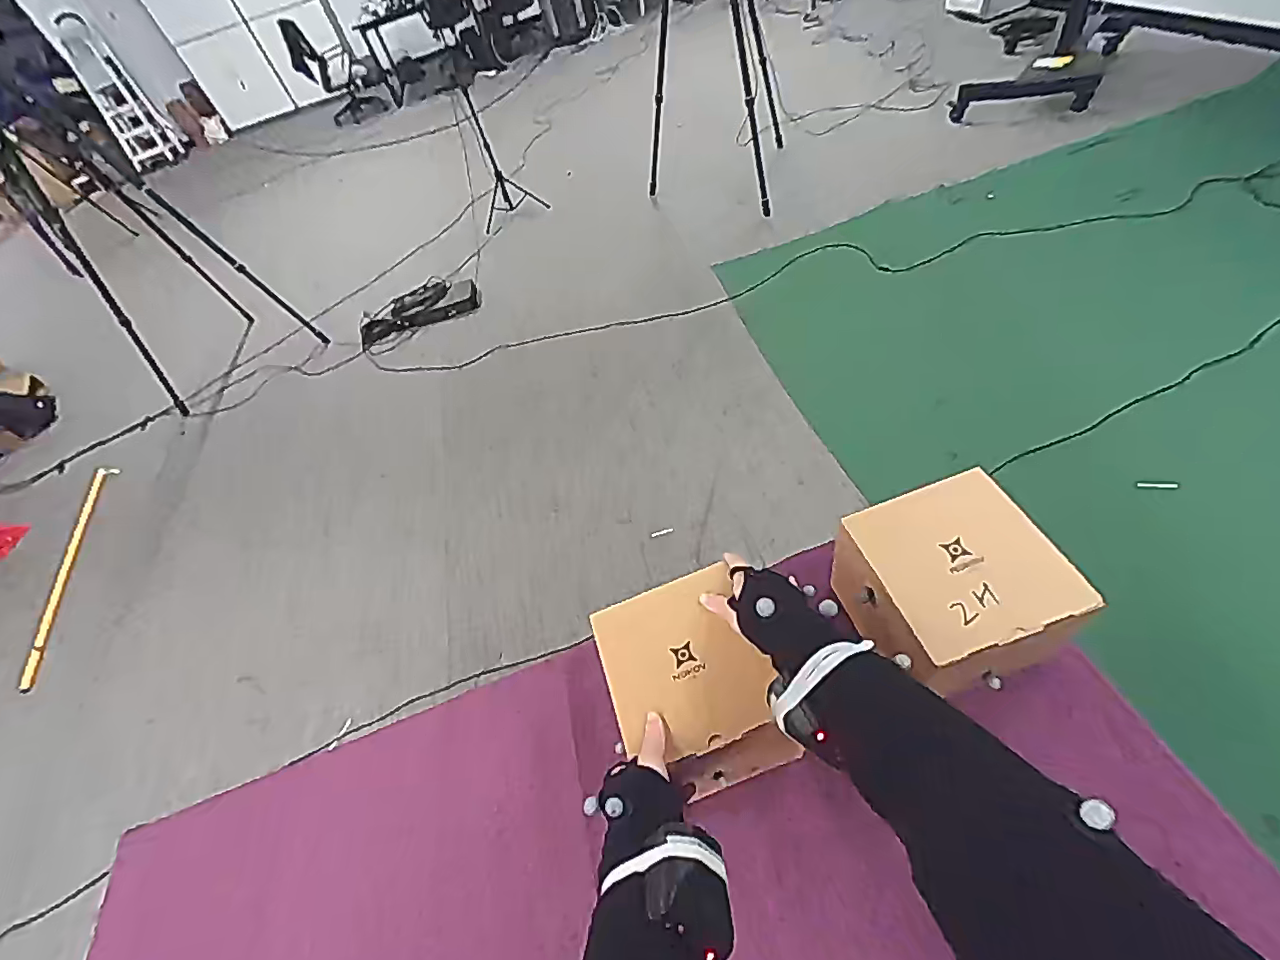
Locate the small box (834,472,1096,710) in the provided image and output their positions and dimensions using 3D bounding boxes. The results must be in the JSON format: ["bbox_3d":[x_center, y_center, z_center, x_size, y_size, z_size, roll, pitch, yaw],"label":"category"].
[{"bbox_3d":[0.331,0.127,0.602,0.168,0.176,0.179,-21,52,1],"label":"small box"}]

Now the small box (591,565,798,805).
[{"bbox_3d":[0.061,0.232,0.606,0.168,0.176,0.179,-22,50,-2],"label":"small box"}]
